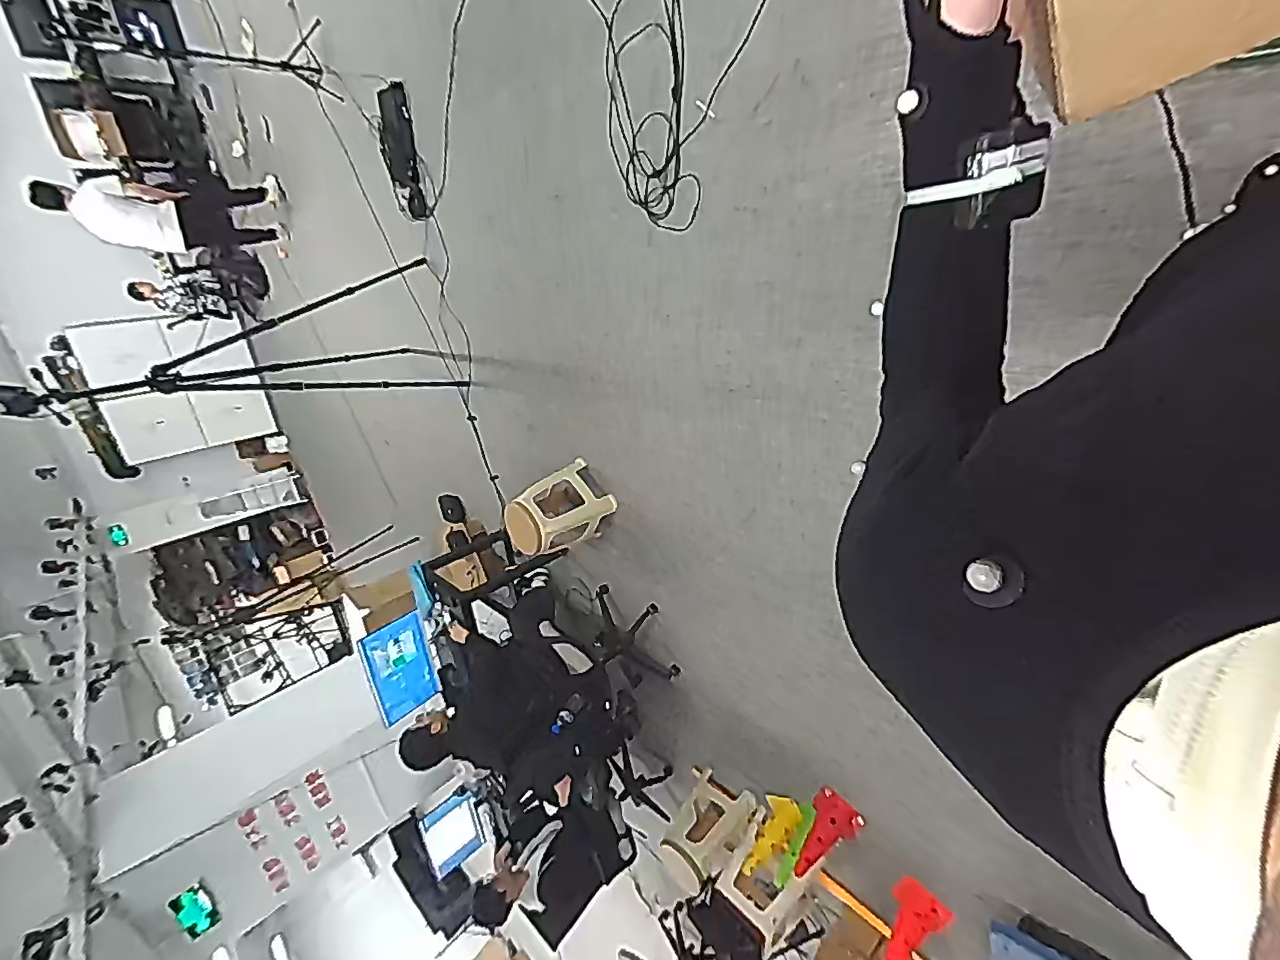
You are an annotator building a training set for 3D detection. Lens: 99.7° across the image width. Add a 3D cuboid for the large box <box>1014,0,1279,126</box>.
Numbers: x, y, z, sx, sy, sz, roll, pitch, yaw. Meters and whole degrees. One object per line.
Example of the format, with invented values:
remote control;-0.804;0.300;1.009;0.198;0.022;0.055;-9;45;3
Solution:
large box;0.427;-0.499;0.285;0.408;0.320;0.320;-12;135;36
